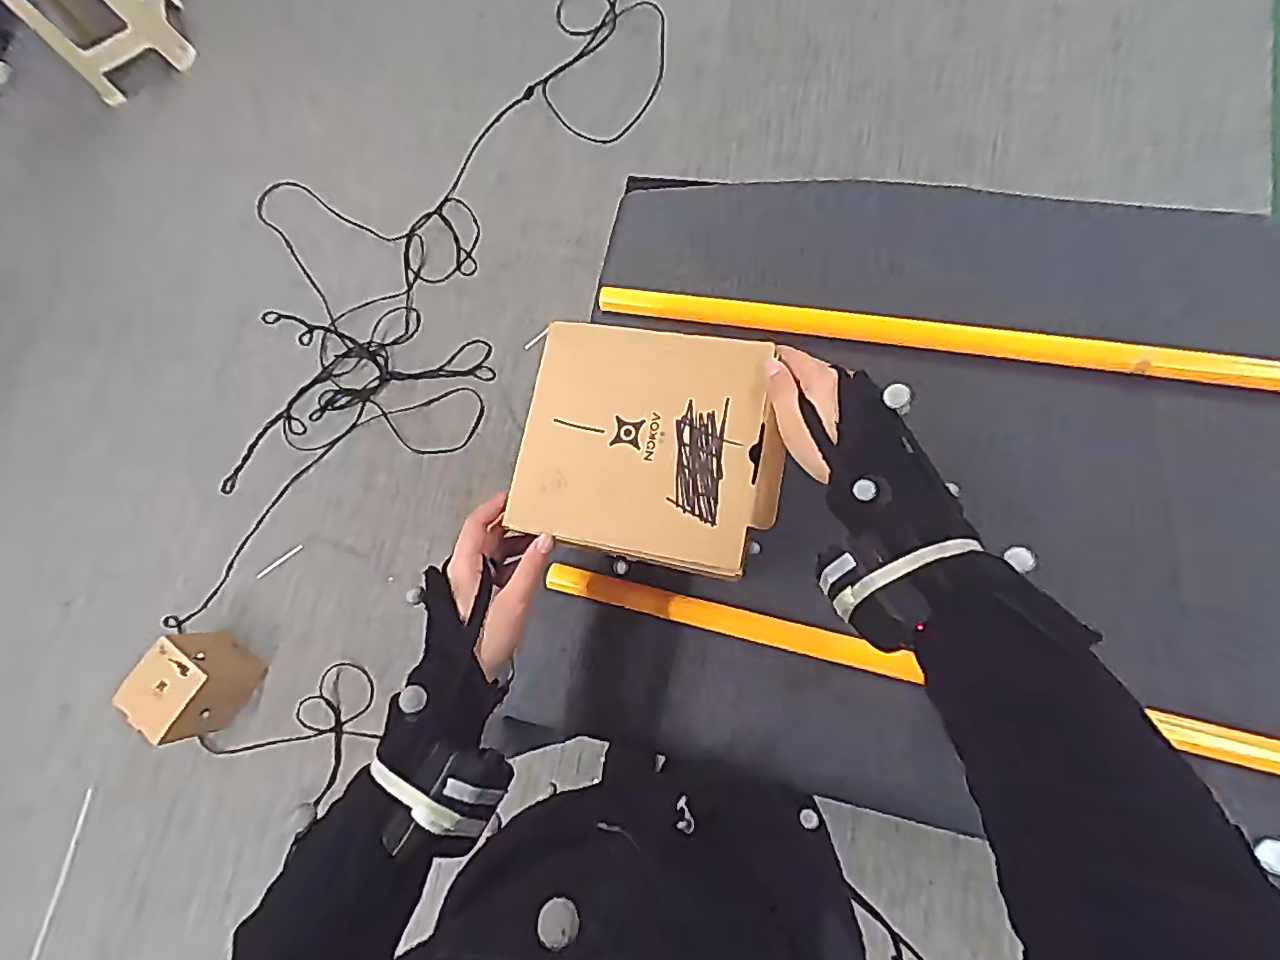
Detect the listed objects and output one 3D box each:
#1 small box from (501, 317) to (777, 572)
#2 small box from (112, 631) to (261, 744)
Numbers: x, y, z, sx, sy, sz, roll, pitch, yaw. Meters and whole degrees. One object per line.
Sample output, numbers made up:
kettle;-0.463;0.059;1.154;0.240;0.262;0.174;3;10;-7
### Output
small box;0.011;-0.018;0.467;0.179;0.176;0.168;10;80;12
small box;-1.045;0.473;1.261;0.168;0.176;0.179;32;83;14
